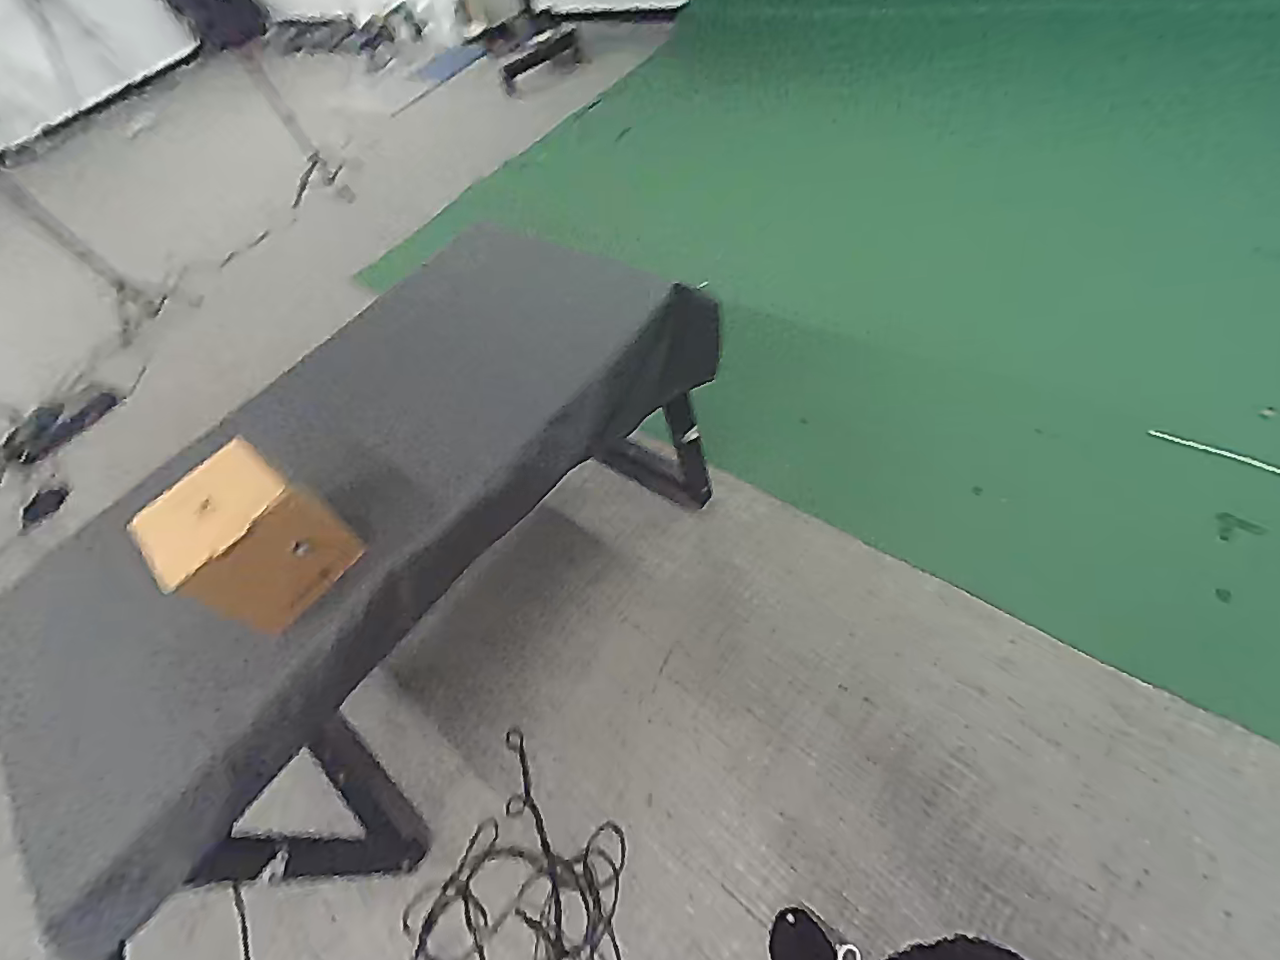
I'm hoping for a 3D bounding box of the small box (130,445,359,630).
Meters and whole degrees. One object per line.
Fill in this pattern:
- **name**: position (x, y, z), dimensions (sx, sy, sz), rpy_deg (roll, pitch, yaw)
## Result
- **small box**: position (-0.540, 0.087, 0.758), dimensions (0.179, 0.176, 0.168), rpy_deg (29, 66, 32)
